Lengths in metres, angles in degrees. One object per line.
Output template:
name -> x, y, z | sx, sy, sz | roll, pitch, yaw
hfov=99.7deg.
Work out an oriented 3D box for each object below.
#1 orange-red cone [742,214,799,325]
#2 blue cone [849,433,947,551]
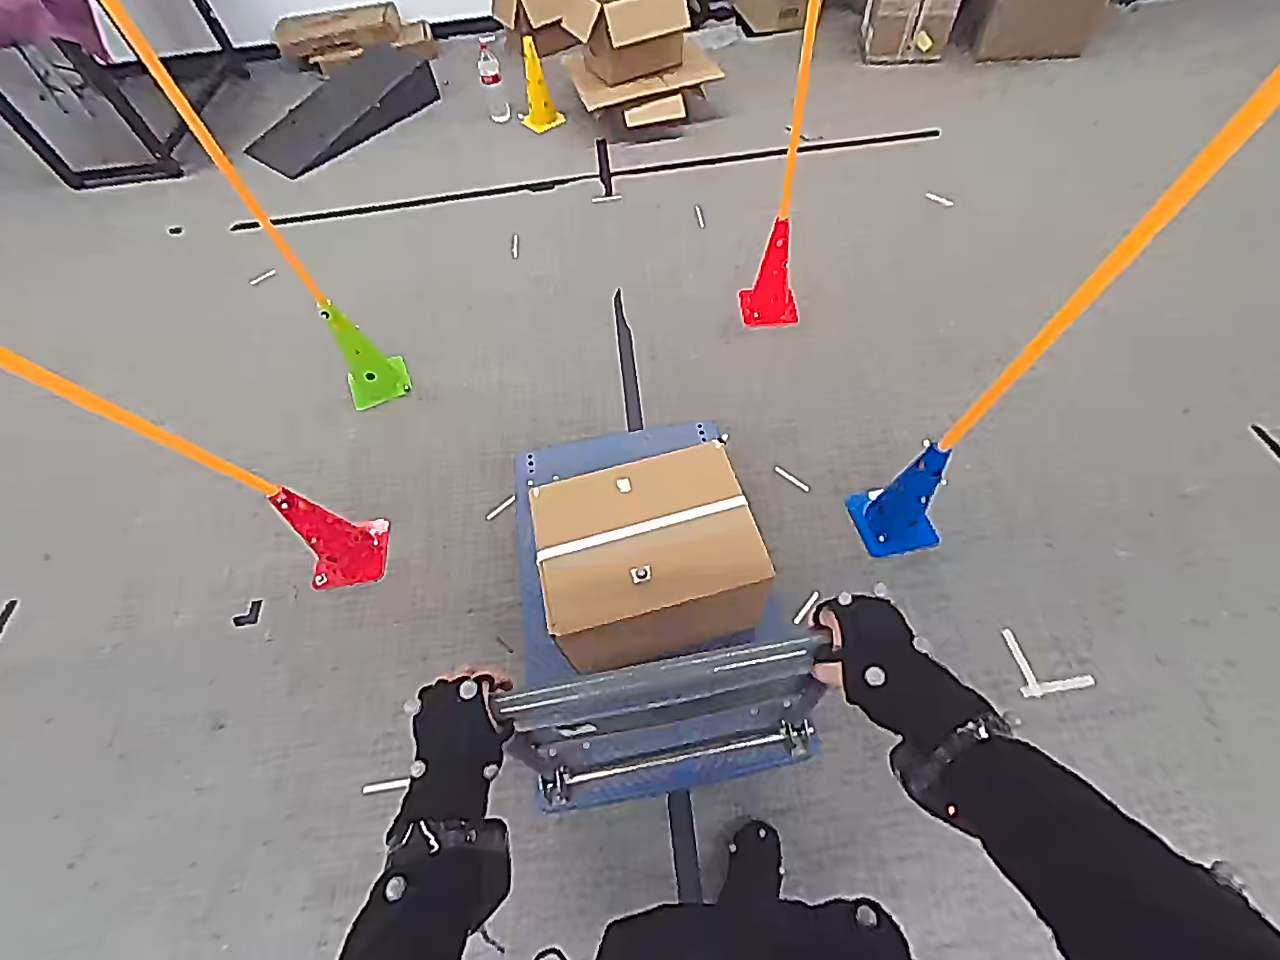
orange-red cone -> 0.469, -0.733, 1.844 | 0.199, 0.360, 0.198 | -1, 59, 2
blue cone -> 0.694, 0.017, 1.378 | 0.193, 0.380, 0.192 | -10, 57, -3
